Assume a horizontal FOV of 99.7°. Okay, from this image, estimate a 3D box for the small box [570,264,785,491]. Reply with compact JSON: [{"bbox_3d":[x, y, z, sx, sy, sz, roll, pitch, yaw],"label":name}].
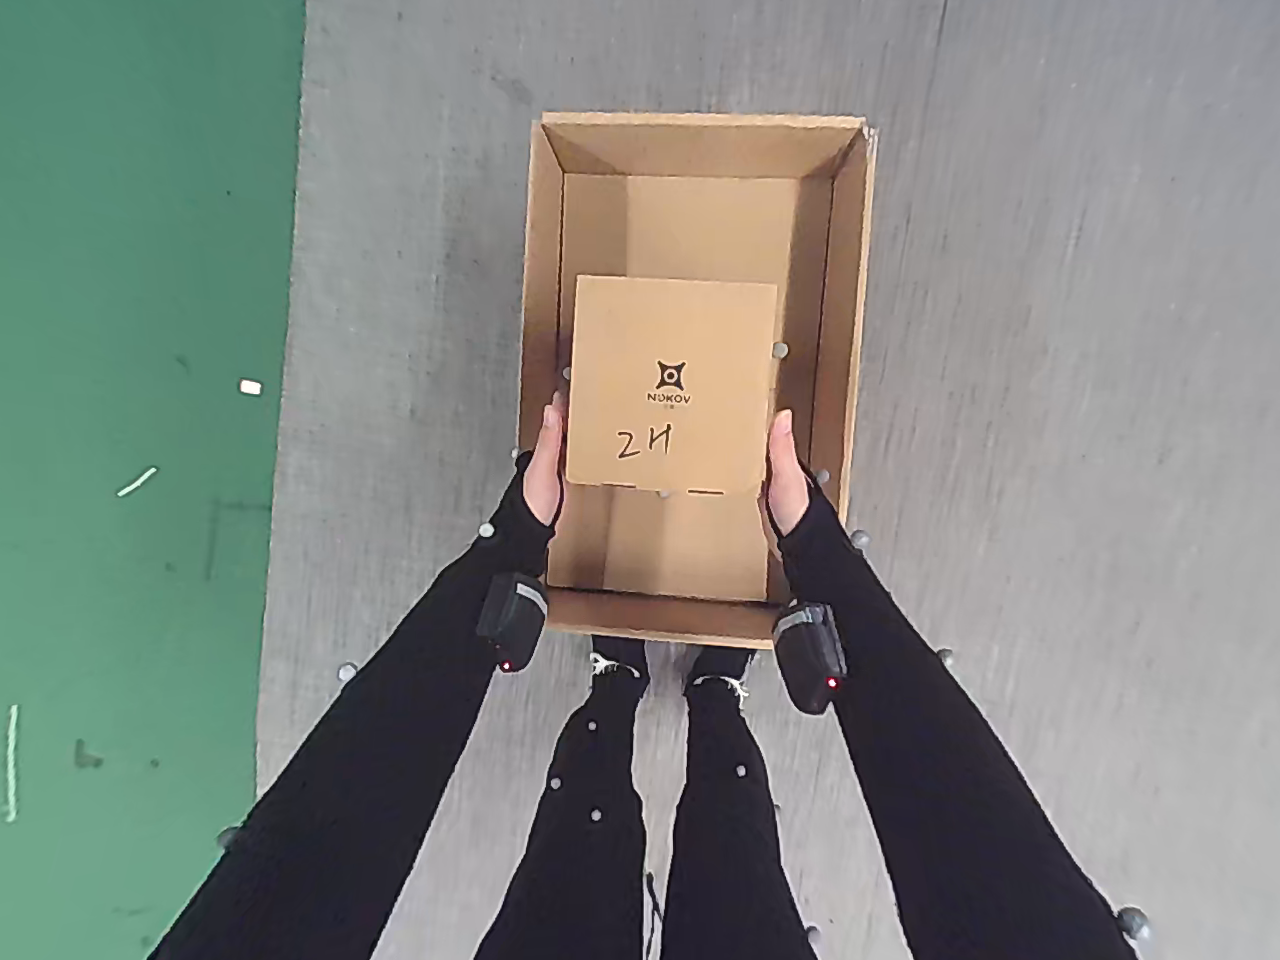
[{"bbox_3d":[0.034,-0.089,0.521,0.168,0.176,0.179,4,95,4],"label":"small box"}]
